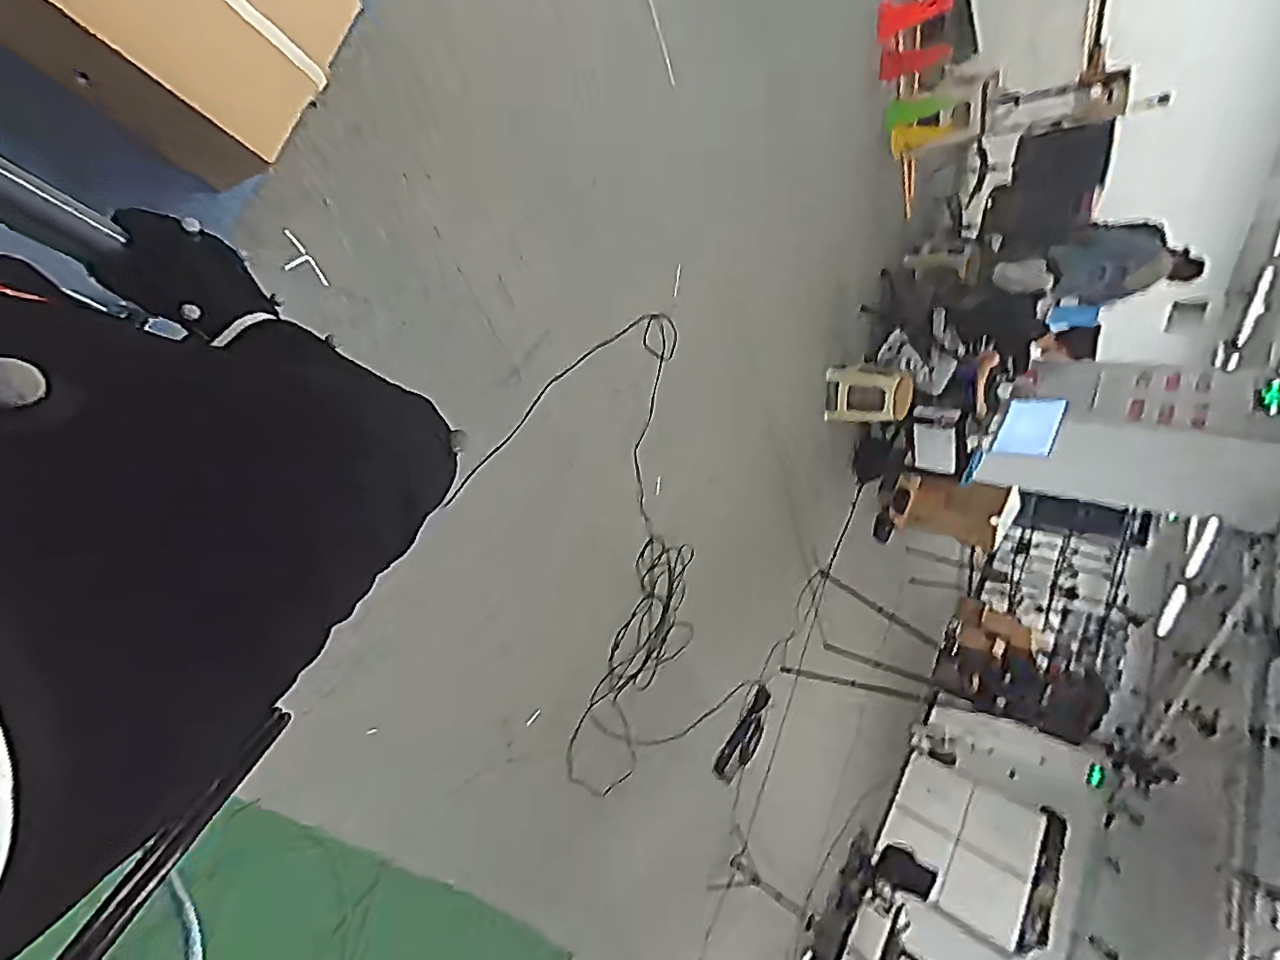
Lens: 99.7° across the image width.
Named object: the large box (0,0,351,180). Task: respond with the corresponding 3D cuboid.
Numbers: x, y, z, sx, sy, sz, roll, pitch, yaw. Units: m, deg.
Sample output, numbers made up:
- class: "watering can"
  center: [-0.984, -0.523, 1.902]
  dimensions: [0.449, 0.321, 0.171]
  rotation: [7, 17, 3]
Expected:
- class: "large box"
  center: [-0.721, -0.724, 0.779]
  dimensions: [0.408, 0.320, 0.320]
  rotation: [32, 78, -48]
